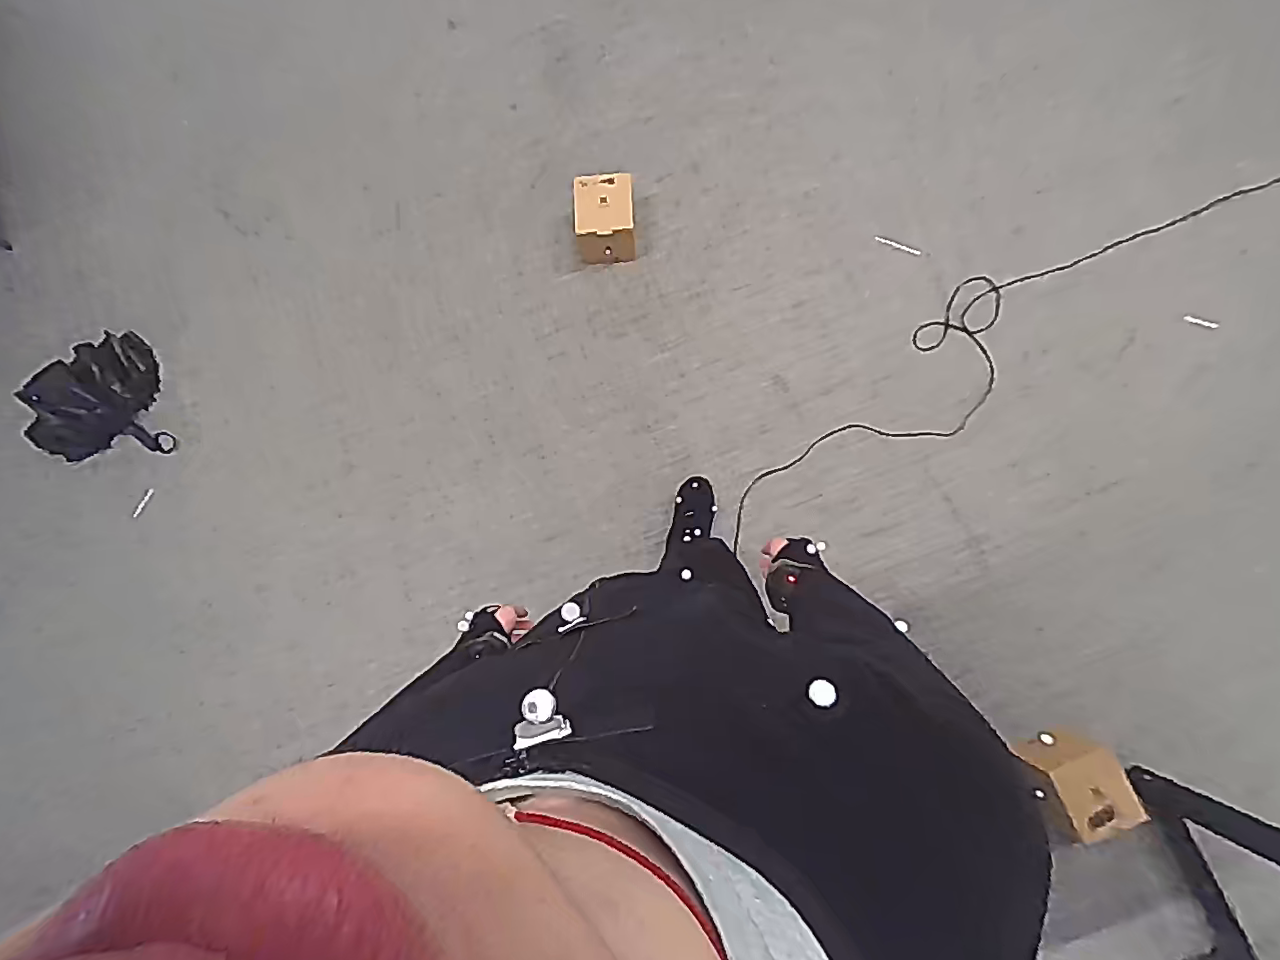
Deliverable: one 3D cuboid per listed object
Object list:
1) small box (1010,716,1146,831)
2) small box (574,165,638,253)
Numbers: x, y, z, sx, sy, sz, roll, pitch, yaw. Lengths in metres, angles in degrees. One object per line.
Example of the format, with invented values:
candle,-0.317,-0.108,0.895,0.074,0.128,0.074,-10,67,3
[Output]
small box,1.091,0.728,1.362,0.168,0.176,0.179,-23,82,0
small box,-0.095,-0.782,1.583,0.168,0.176,0.179,-3,84,3
